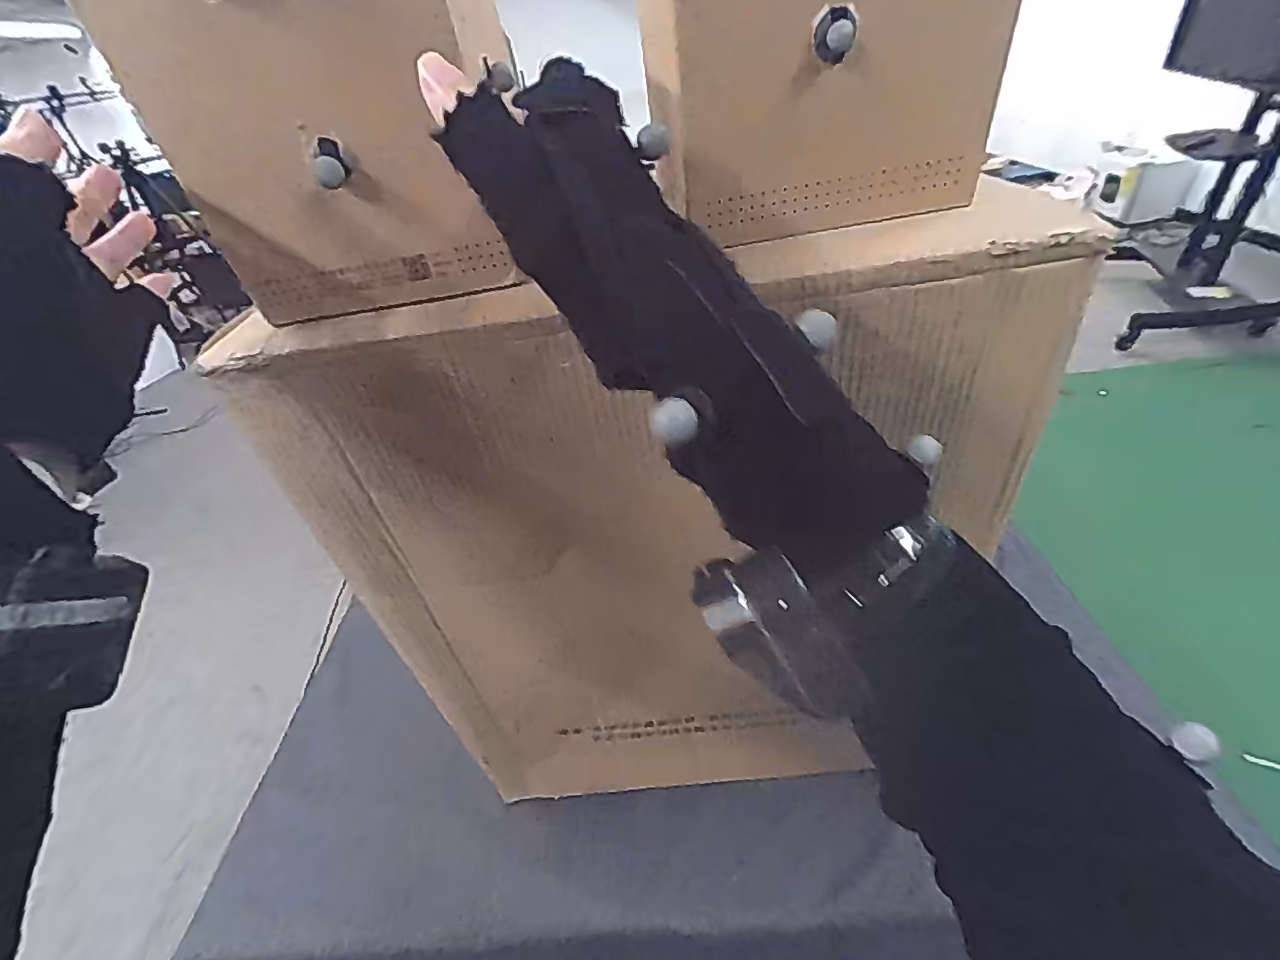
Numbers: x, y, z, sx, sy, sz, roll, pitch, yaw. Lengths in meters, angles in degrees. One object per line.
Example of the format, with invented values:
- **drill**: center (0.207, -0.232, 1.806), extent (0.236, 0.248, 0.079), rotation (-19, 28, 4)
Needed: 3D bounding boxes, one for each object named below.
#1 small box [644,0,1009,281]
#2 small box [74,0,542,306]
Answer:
- **small box**: center (0.099, -0.249, 0.352), extent (0.179, 0.176, 0.168), rotation (-9, 40, 1)
- **small box**: center (-0.166, -0.223, 0.348), extent (0.168, 0.176, 0.179), rotation (-8, 41, 2)
